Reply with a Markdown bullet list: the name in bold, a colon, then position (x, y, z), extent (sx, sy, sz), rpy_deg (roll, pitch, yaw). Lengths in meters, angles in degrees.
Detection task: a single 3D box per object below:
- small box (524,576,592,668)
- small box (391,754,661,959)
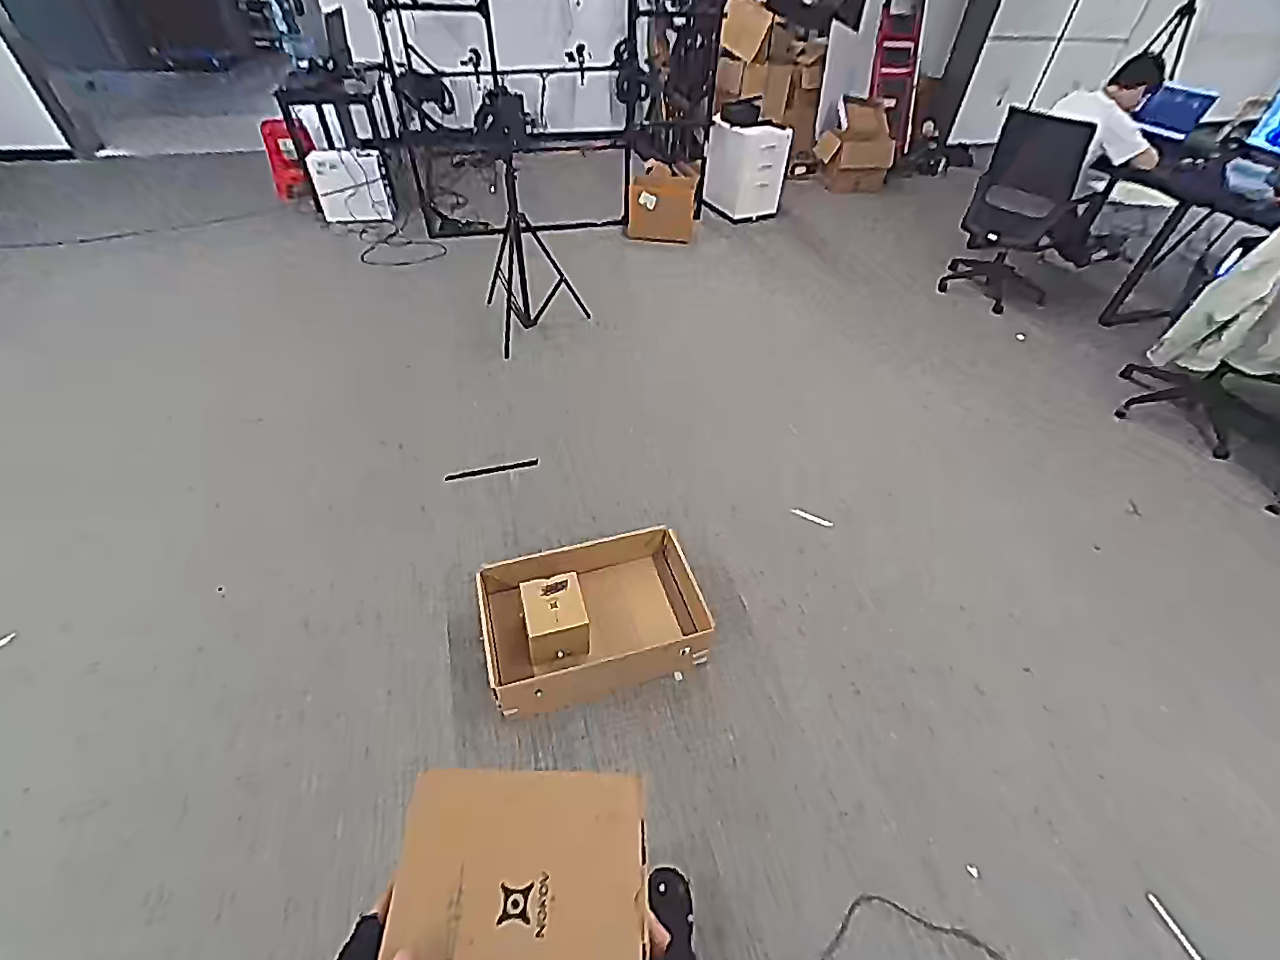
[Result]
- **small box**: position (-0.237, 0.408, 1.555), extent (0.168, 0.176, 0.179), rpy_deg (-11, 47, -14)
- **small box**: position (-0.085, 0.332, 0.436), extent (0.179, 0.176, 0.168), rpy_deg (4, 49, -7)
